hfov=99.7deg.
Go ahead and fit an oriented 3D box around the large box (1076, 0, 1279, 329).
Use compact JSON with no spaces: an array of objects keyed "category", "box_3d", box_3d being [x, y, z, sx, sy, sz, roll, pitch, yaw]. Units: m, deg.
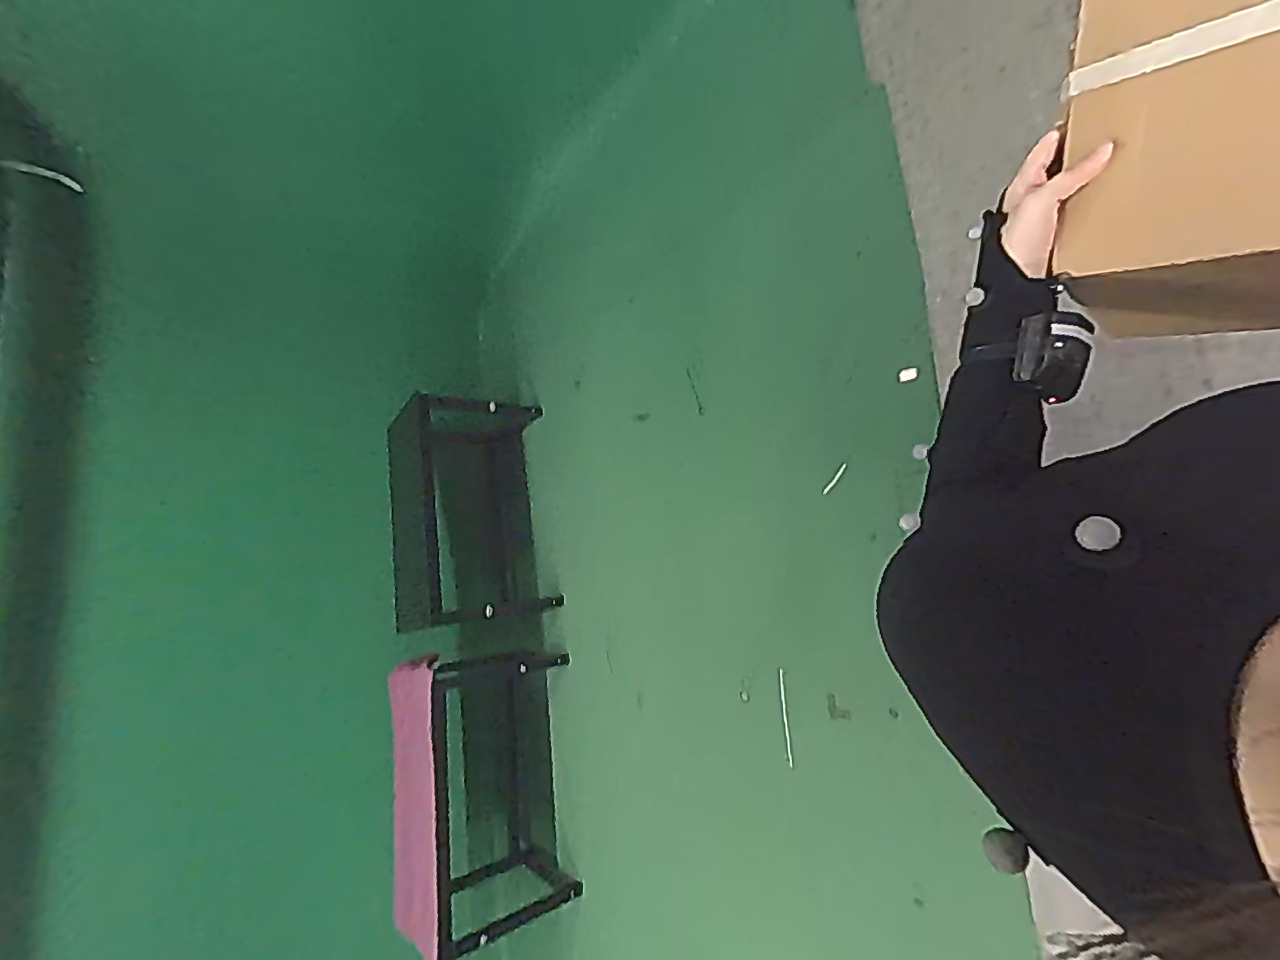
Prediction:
[{"category":"large box","box_3d":[0.608,-0.312,0.396,0.408,0.320,0.320,9,97,46]}]
